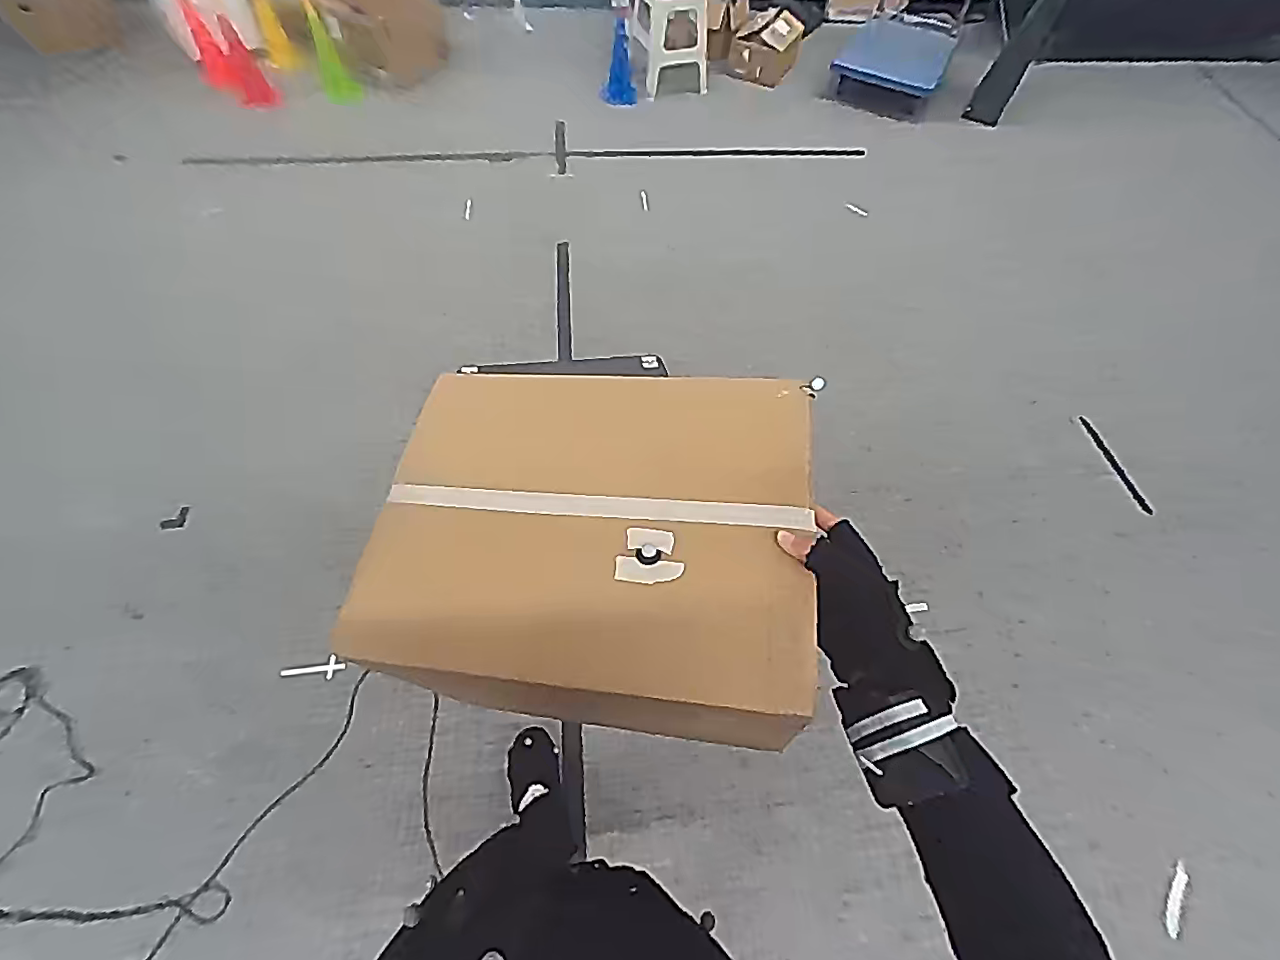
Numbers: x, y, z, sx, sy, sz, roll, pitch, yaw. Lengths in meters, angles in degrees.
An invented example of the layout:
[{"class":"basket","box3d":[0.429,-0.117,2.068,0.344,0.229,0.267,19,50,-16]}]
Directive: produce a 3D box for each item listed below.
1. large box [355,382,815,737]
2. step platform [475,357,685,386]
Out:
[{"class":"large box","box3d":[-0.024,0.102,0.646,0.408,0.320,0.320,3,61,11]},{"class":"step platform","box3d":[-0.187,-0.218,1.732,0.684,0.204,0.286,-5,58,-7]}]
